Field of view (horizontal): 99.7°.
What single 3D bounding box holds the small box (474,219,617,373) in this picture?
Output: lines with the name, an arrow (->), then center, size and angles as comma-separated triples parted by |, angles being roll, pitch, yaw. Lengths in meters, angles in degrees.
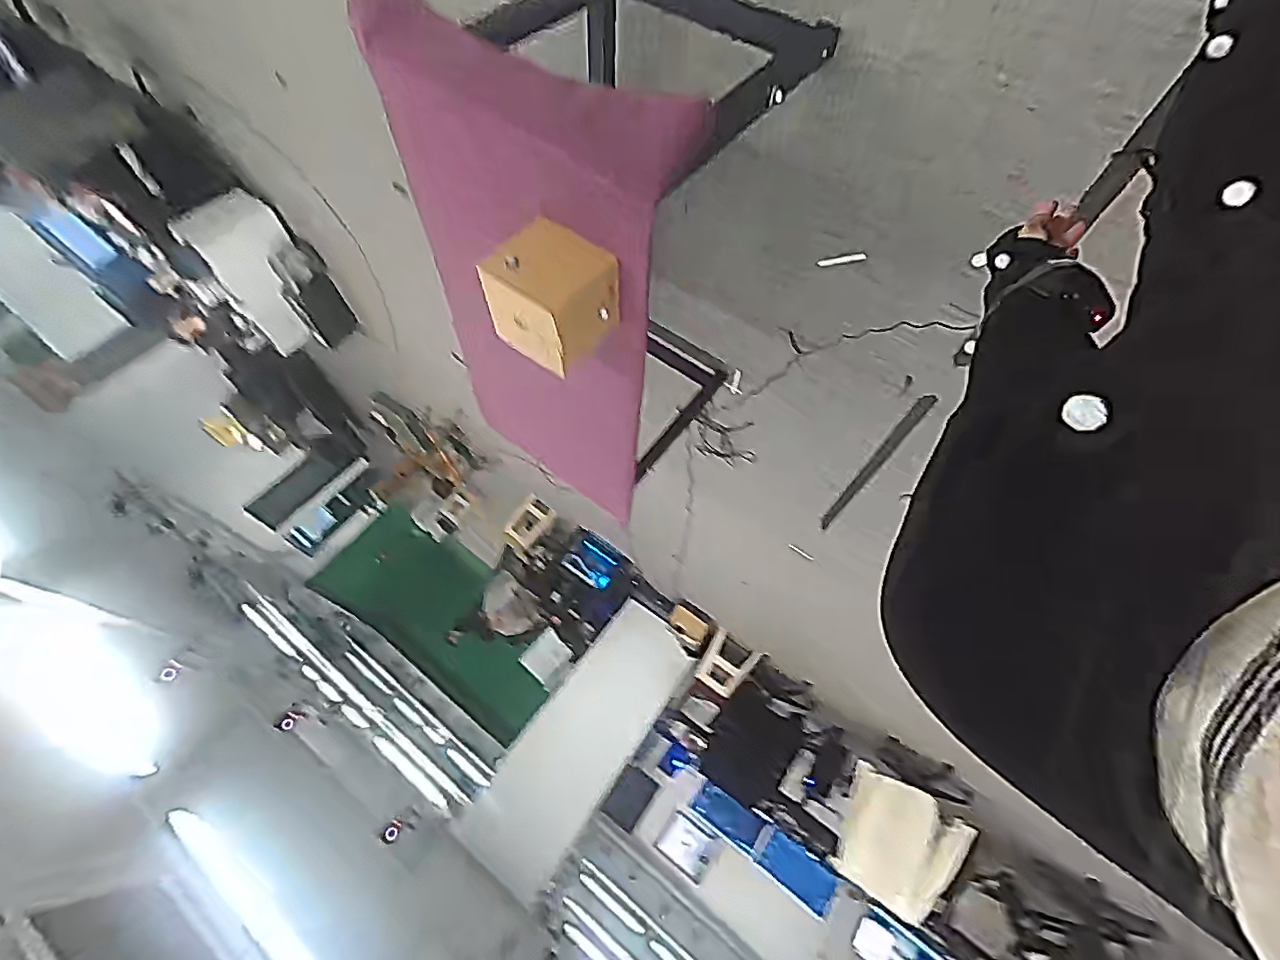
small box -> -0.161, -0.334, 0.969 | 0.179, 0.176, 0.168 | 34, 157, 15
